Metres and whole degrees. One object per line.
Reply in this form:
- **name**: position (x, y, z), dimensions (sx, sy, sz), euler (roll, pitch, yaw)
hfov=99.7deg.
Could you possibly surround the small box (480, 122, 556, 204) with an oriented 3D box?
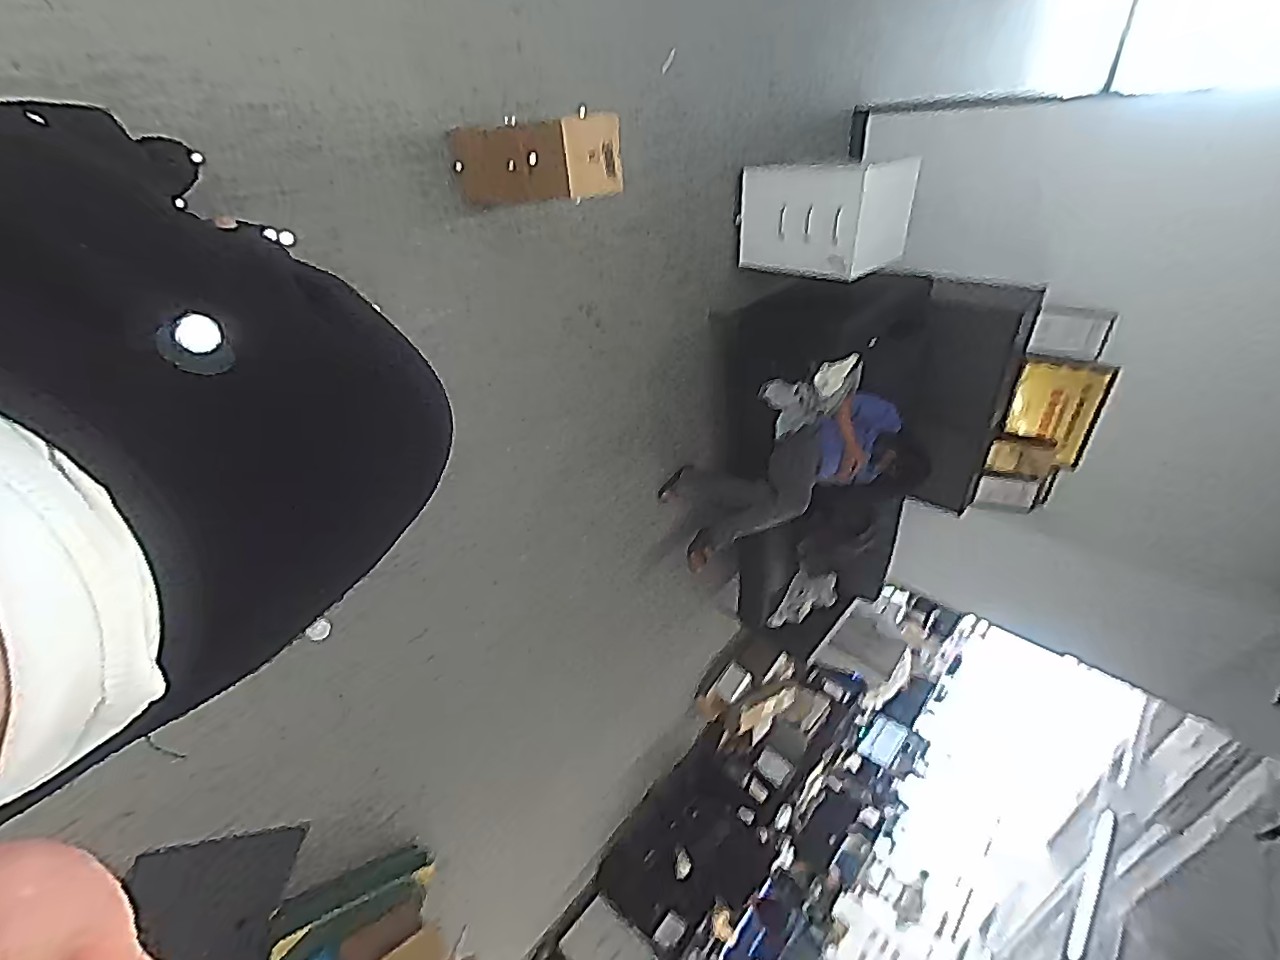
- **small box**: position (-0.294, -0.832, 1.414), dimensions (0.168, 0.176, 0.179), euler (-34, 134, -35)

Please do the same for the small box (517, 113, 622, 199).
- **small box**: position (-0.169, -0.788, 1.315), dimensions (0.179, 0.176, 0.168), euler (-33, 132, -35)

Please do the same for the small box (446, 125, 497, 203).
- **small box**: position (-0.411, -0.887, 1.512), dimensions (0.168, 0.176, 0.179), euler (-34, 134, -36)
